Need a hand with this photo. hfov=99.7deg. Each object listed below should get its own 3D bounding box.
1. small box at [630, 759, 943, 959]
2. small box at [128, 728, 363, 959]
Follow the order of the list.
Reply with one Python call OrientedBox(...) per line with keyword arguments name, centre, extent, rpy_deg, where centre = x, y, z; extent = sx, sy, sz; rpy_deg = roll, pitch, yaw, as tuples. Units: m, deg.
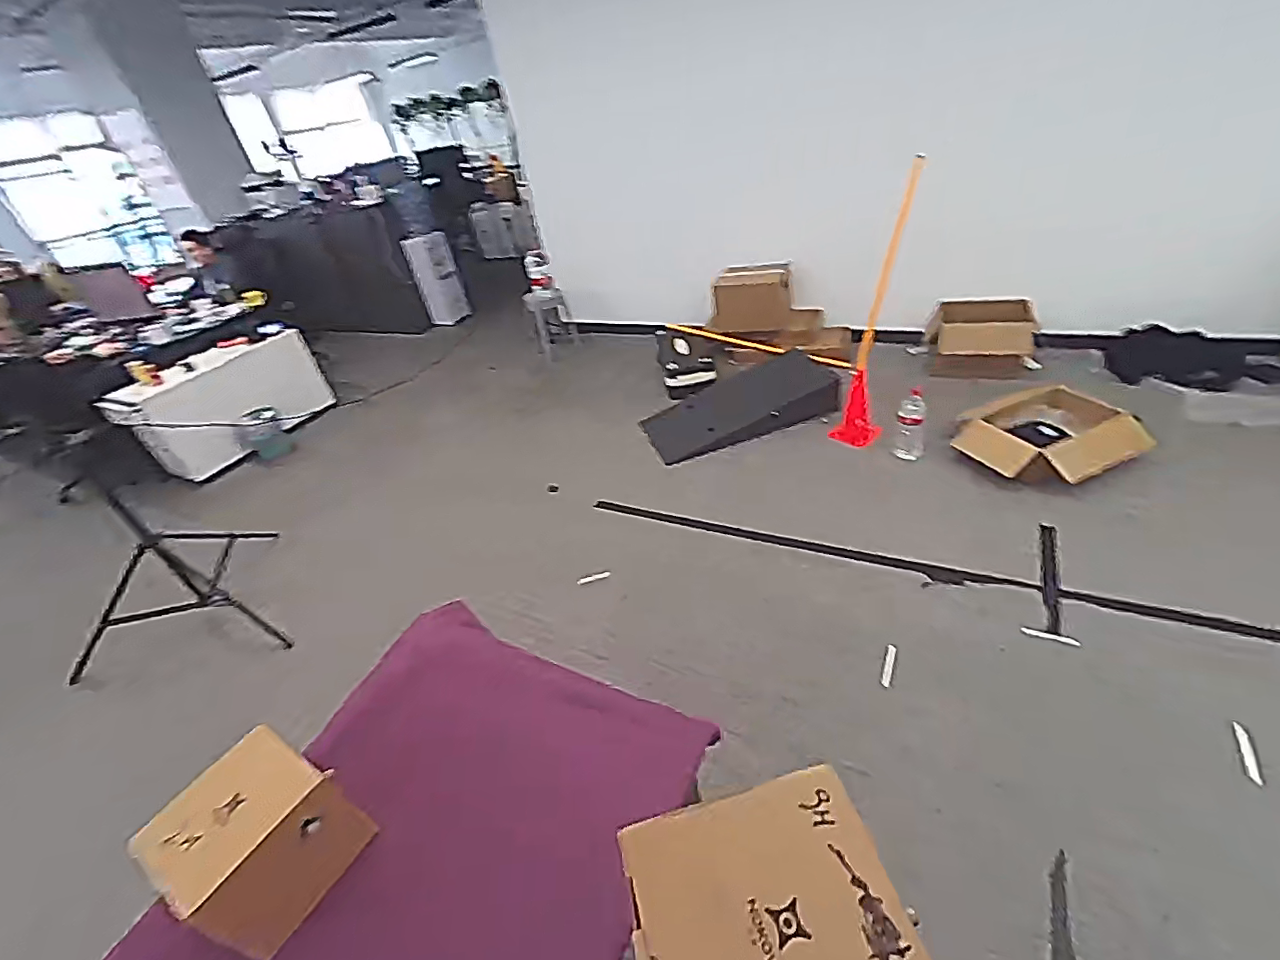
OrientedBox(name="small box", centre=(0.100, 0.347, 0.409), extent=(0.179, 0.176, 0.168), rpy_deg=(-12, 44, -8))
OrientedBox(name="small box", centre=(-0.507, 0.483, 0.726), extent=(0.168, 0.176, 0.179), rpy_deg=(13, 43, 30))
